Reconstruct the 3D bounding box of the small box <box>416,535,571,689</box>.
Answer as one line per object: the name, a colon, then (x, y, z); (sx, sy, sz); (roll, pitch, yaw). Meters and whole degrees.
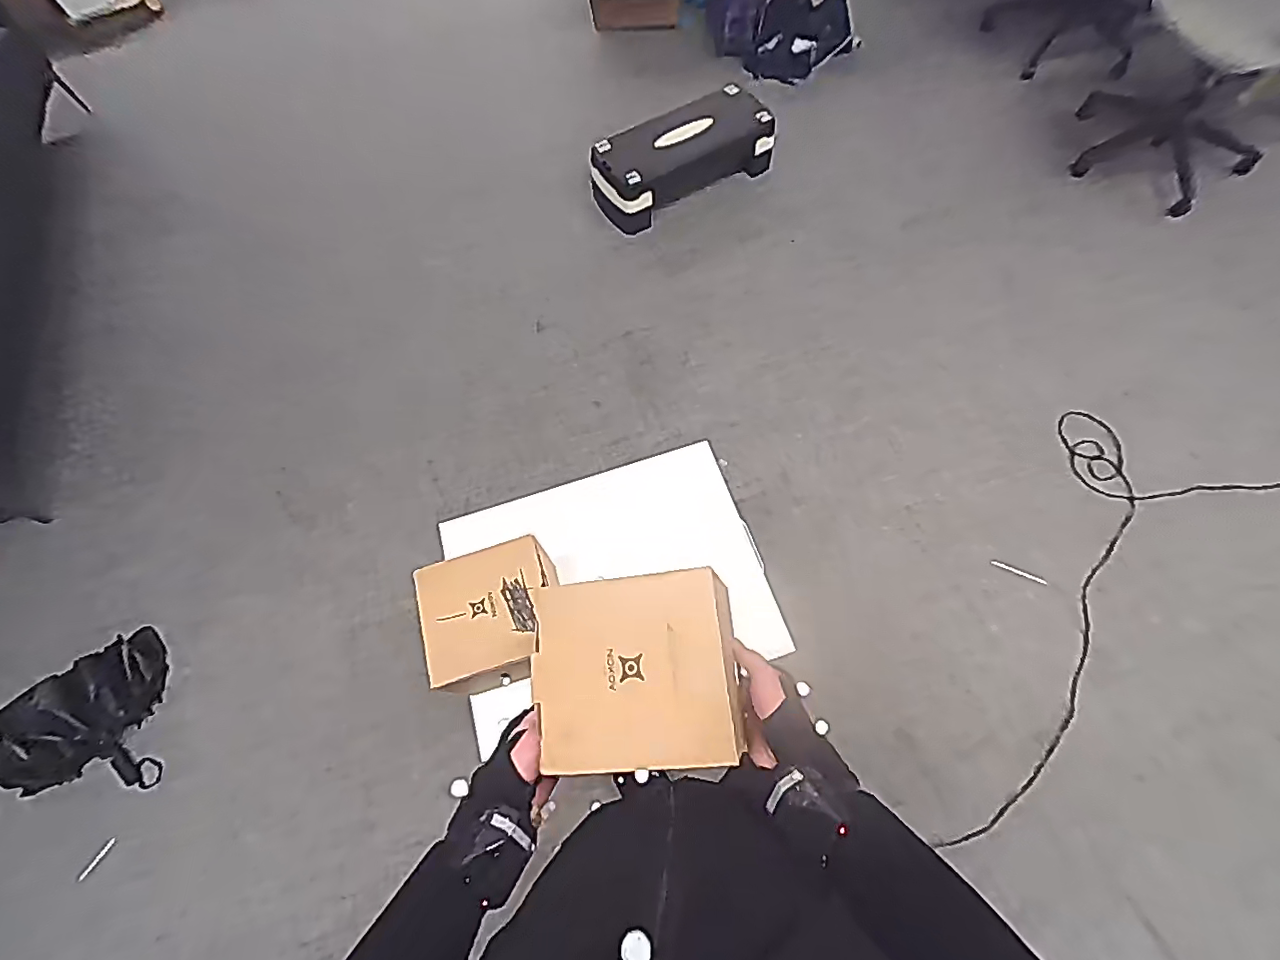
small box: (-0.206, 0.201, 0.804); (0.179, 0.176, 0.168); (-17, 66, -5)
